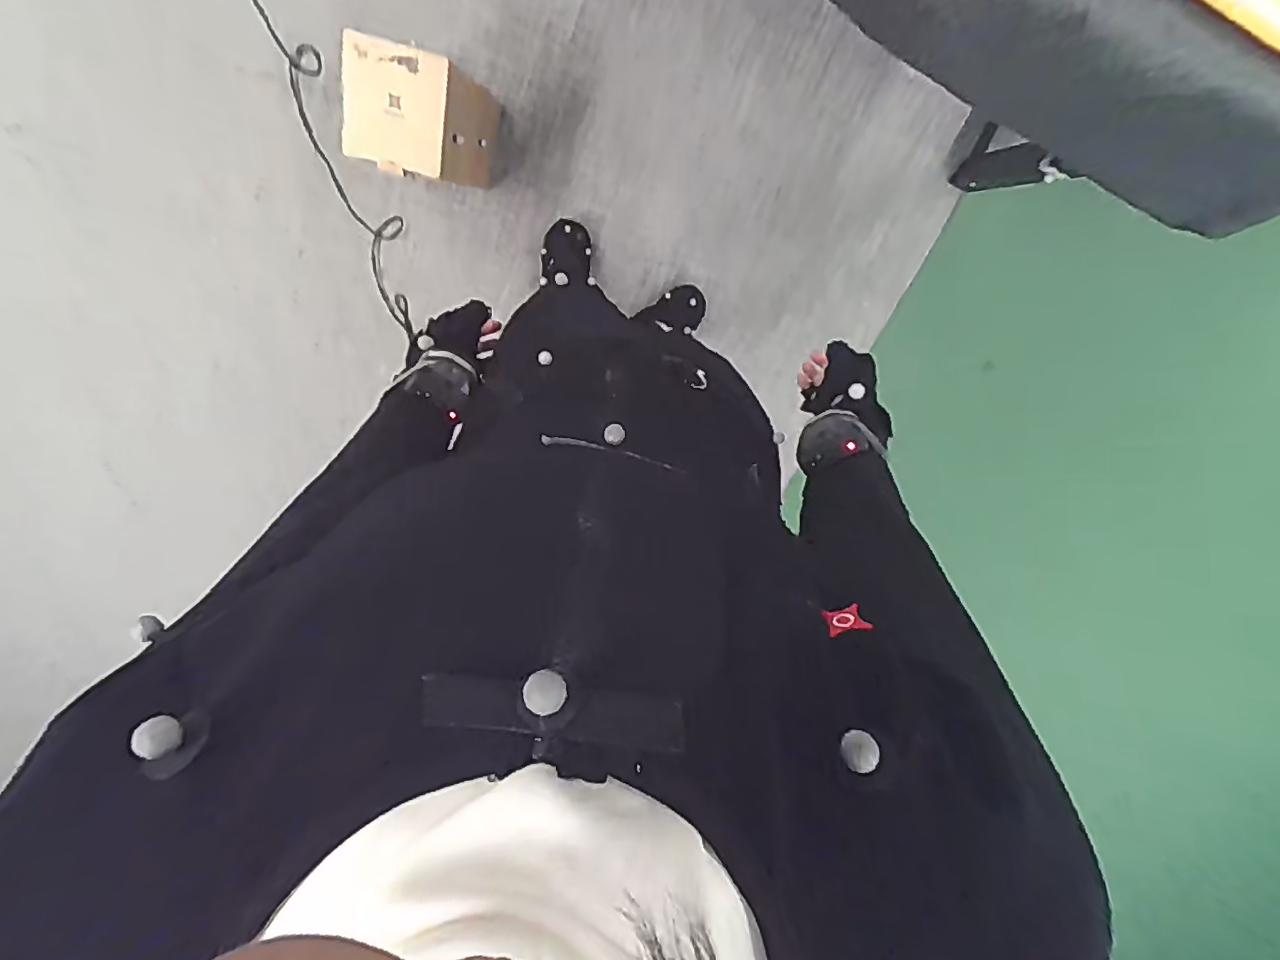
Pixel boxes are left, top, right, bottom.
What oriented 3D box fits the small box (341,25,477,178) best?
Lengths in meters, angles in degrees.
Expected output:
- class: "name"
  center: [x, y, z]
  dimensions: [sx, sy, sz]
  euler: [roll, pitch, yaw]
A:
- class: "small box"
  center: [-0.395, -0.644, 0.946]
  dimensions: [0.168, 0.176, 0.179]
  euler: [11, 114, -3]
